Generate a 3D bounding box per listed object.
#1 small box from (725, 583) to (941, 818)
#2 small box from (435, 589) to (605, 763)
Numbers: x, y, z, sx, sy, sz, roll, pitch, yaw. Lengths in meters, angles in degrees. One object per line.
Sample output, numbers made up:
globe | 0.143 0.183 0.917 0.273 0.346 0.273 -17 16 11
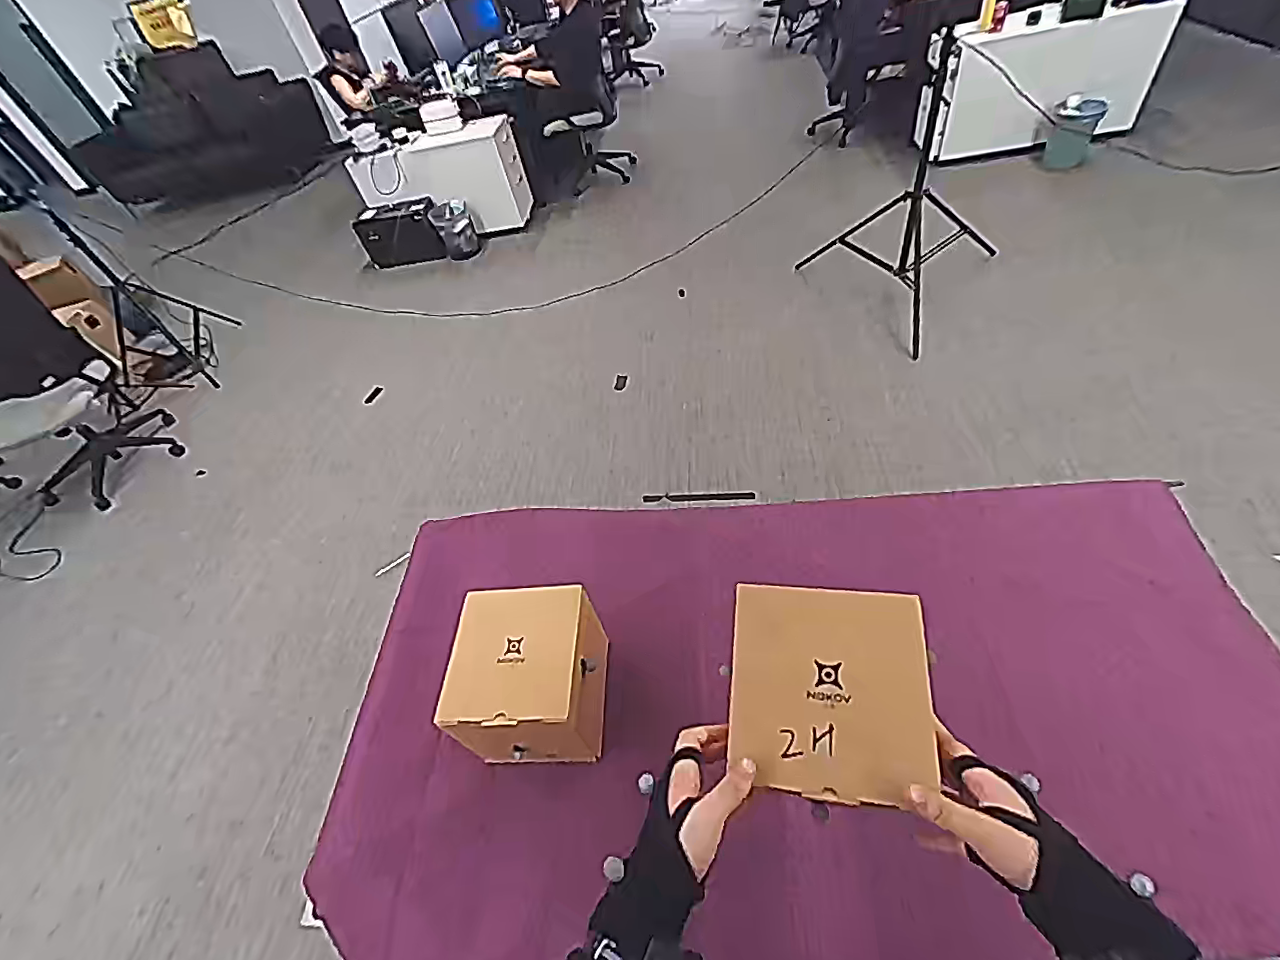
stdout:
small box | 0.178 0.218 0.534 0.168 0.176 0.179 1 60 15
small box | -0.146 0.268 0.735 0.168 0.176 0.179 -5 49 8
